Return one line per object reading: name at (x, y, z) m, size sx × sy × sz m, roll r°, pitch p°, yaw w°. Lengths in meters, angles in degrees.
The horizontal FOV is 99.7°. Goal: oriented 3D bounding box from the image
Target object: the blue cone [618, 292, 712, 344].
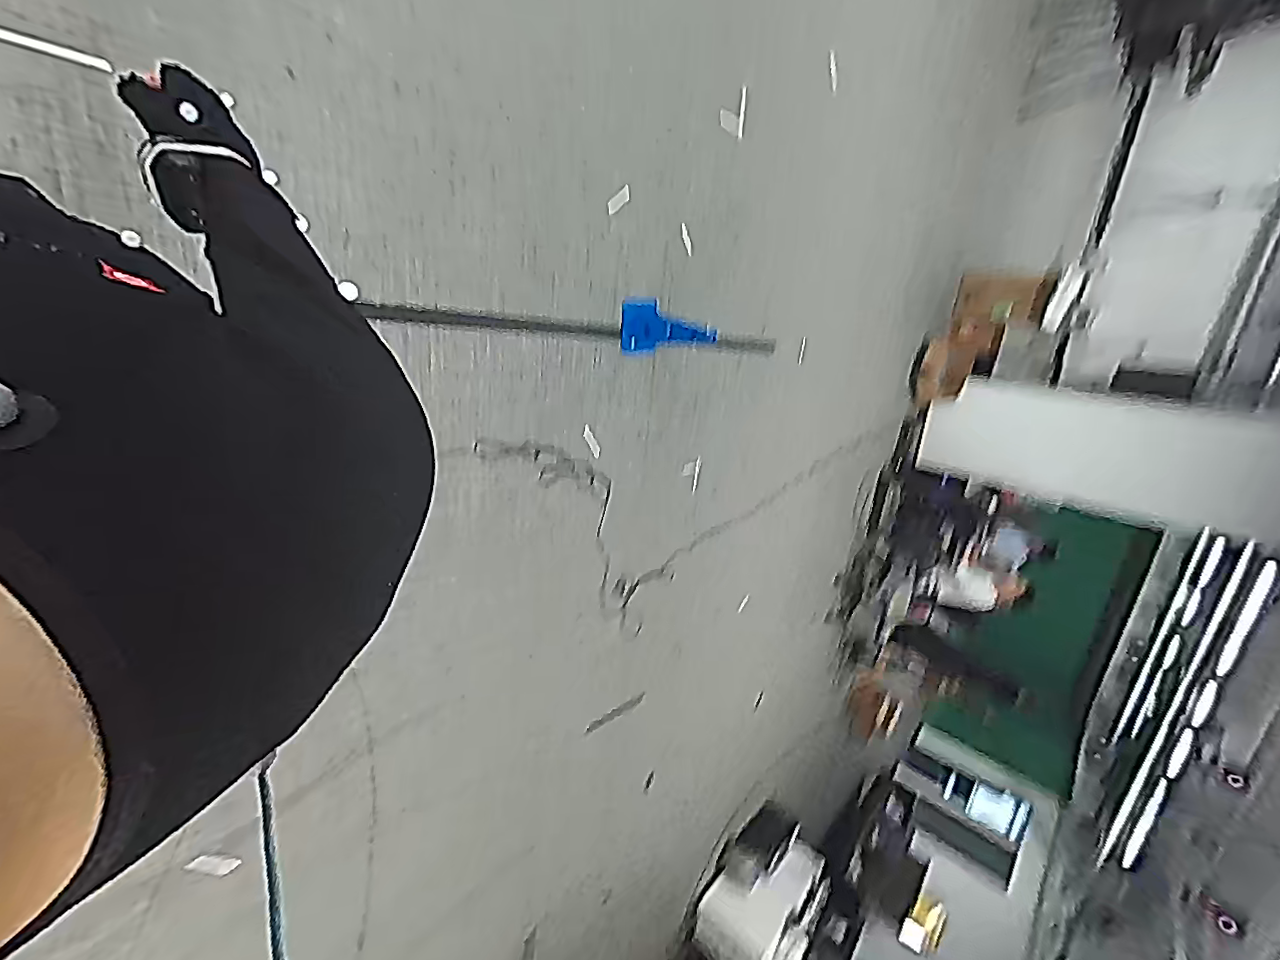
blue cone at (0.104, -0.587, 1.989) m, size 0.193 × 0.380 × 0.192 m, roll -18°, pitch 117°, yaw -45°
